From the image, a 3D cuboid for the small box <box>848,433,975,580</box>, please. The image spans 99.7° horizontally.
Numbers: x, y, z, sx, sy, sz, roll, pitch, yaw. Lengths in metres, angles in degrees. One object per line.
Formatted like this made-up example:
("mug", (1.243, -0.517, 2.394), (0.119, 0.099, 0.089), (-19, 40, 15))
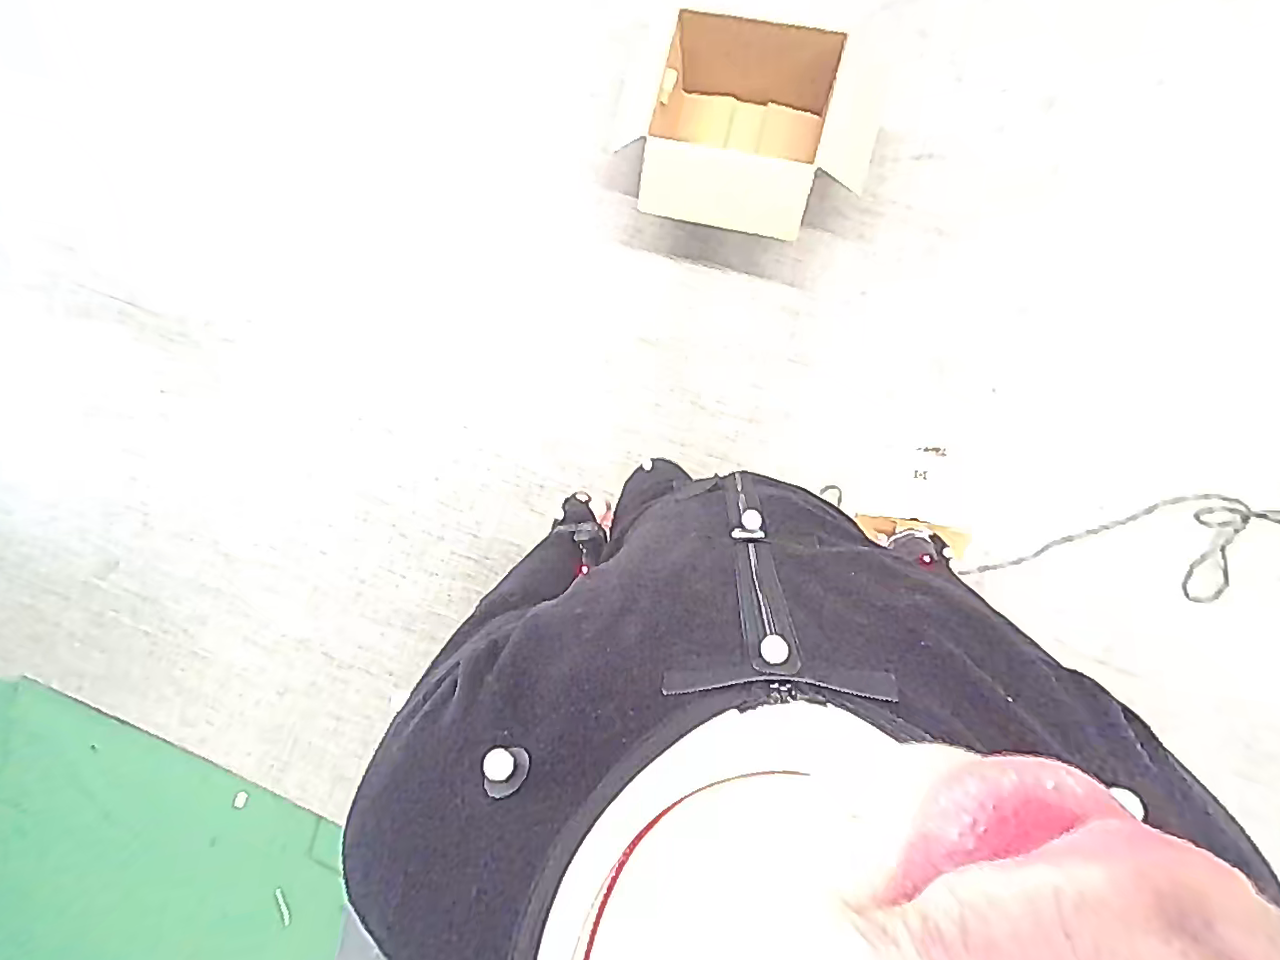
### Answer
("small box", (0.457, 0.047, 0.924), (0.168, 0.176, 0.179), (10, 53, 24))
